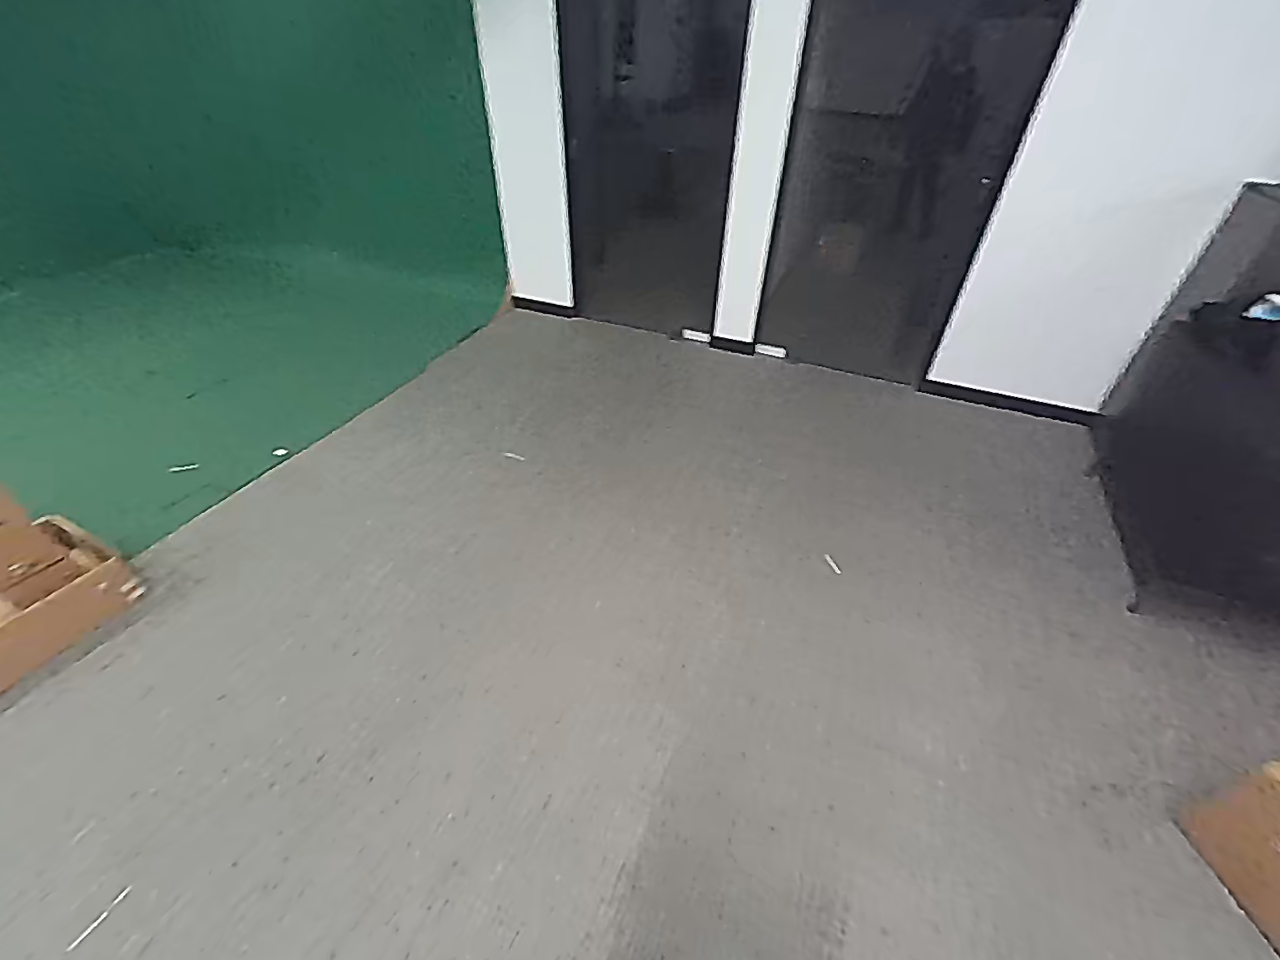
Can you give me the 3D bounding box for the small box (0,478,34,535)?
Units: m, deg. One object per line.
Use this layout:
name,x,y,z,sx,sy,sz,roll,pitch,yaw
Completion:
small box,-1.853,0.067,1.480,0.179,0.176,0.168,17,43,18

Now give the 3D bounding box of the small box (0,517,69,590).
small box,-1.860,0.192,1.586,0.179,0.176,0.168,21,44,19
